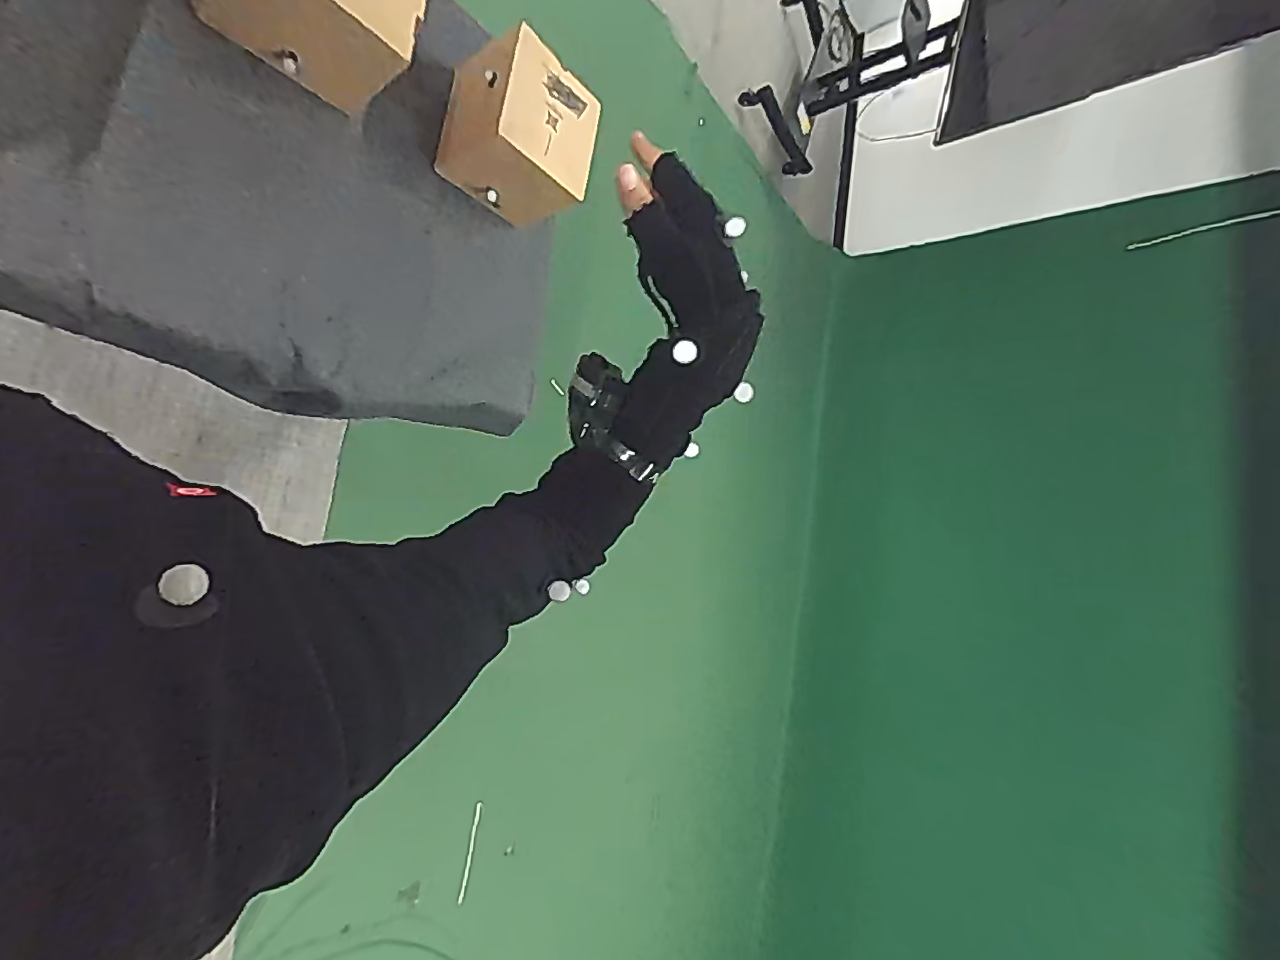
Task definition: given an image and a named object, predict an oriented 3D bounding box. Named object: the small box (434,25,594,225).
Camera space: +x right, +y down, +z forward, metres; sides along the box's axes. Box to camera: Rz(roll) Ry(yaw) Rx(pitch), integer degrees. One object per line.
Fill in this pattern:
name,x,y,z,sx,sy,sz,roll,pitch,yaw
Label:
small box,-0.199,-0.541,0.853,0.168,0.176,0.179,17,80,-50
